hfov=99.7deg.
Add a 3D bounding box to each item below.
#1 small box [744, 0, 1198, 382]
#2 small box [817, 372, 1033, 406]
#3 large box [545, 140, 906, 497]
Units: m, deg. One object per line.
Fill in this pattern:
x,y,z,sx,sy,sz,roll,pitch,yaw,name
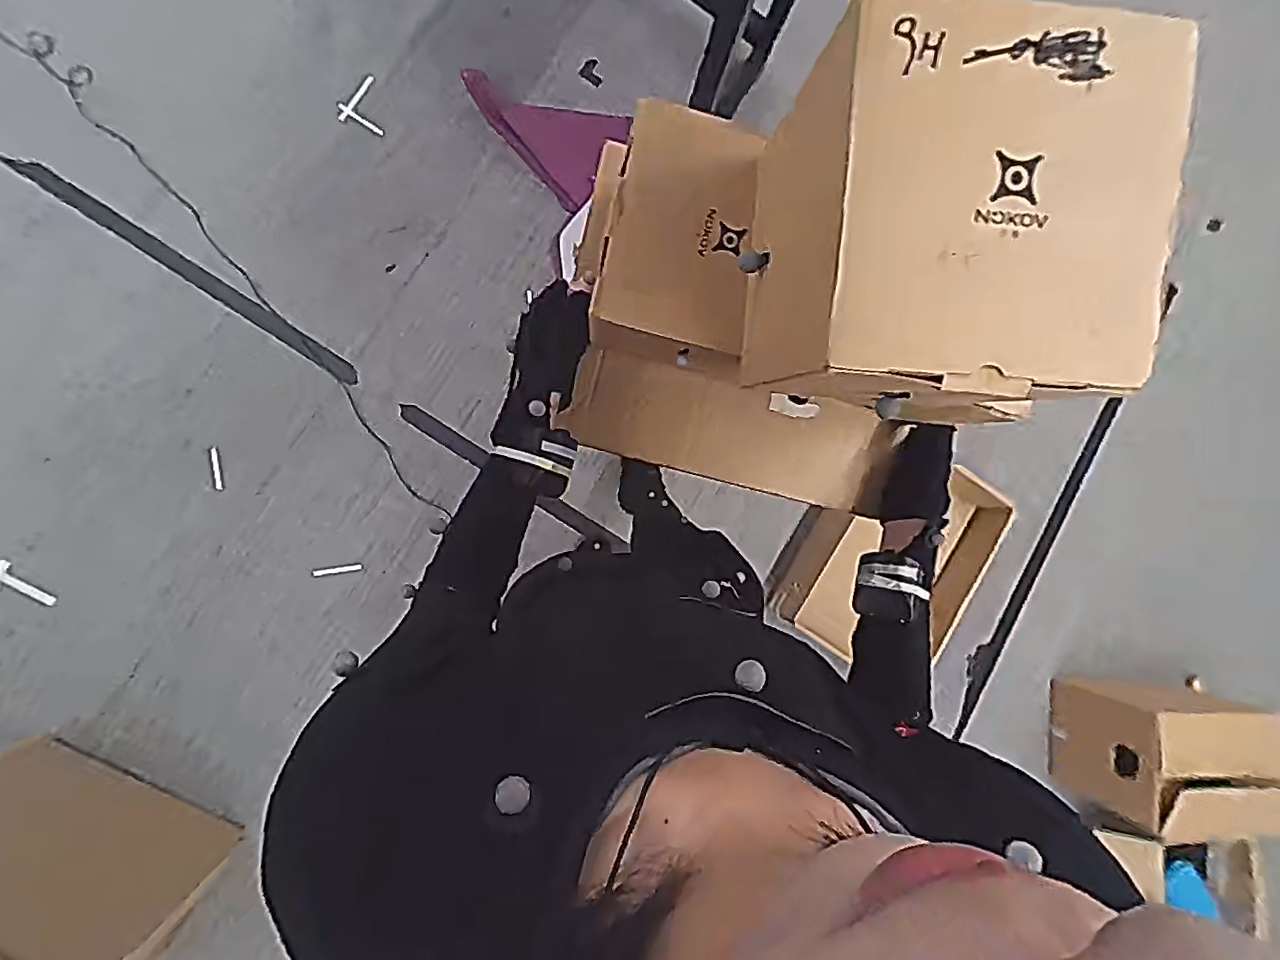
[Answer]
0.167,-0.155,0.334,0.168,0.176,0.179,2,96,-5,small box
0.252,-0.175,0.503,0.168,0.176,0.179,17,92,-6,small box
0.104,-0.180,0.736,0.408,0.320,0.320,12,95,-7,large box
